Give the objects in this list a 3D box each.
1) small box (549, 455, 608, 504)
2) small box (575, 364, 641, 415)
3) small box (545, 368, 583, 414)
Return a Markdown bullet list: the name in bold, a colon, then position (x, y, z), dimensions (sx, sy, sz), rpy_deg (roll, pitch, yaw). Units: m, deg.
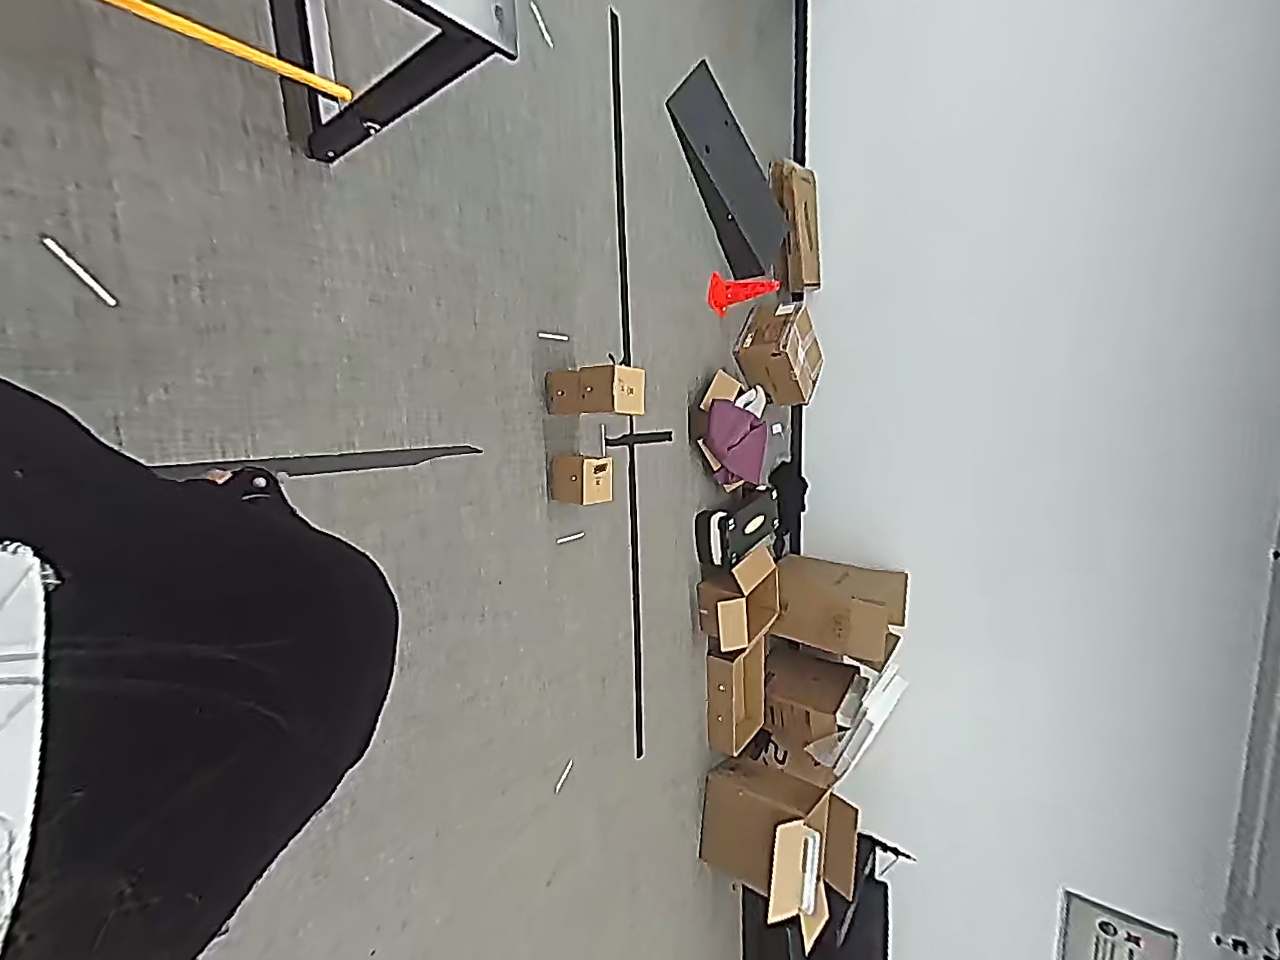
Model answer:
- **small box**: position (-0.243, -0.008, 2.122), dimensions (0.168, 0.176, 0.179), rpy_deg (-7, 101, -52)
- **small box**: position (-0.117, -0.327, 1.975), dimensions (0.179, 0.176, 0.168), rpy_deg (-4, 97, -53)
- **small box**: position (-0.251, -0.339, 2.072), dimensions (0.179, 0.176, 0.168), rpy_deg (-13, 104, -51)
